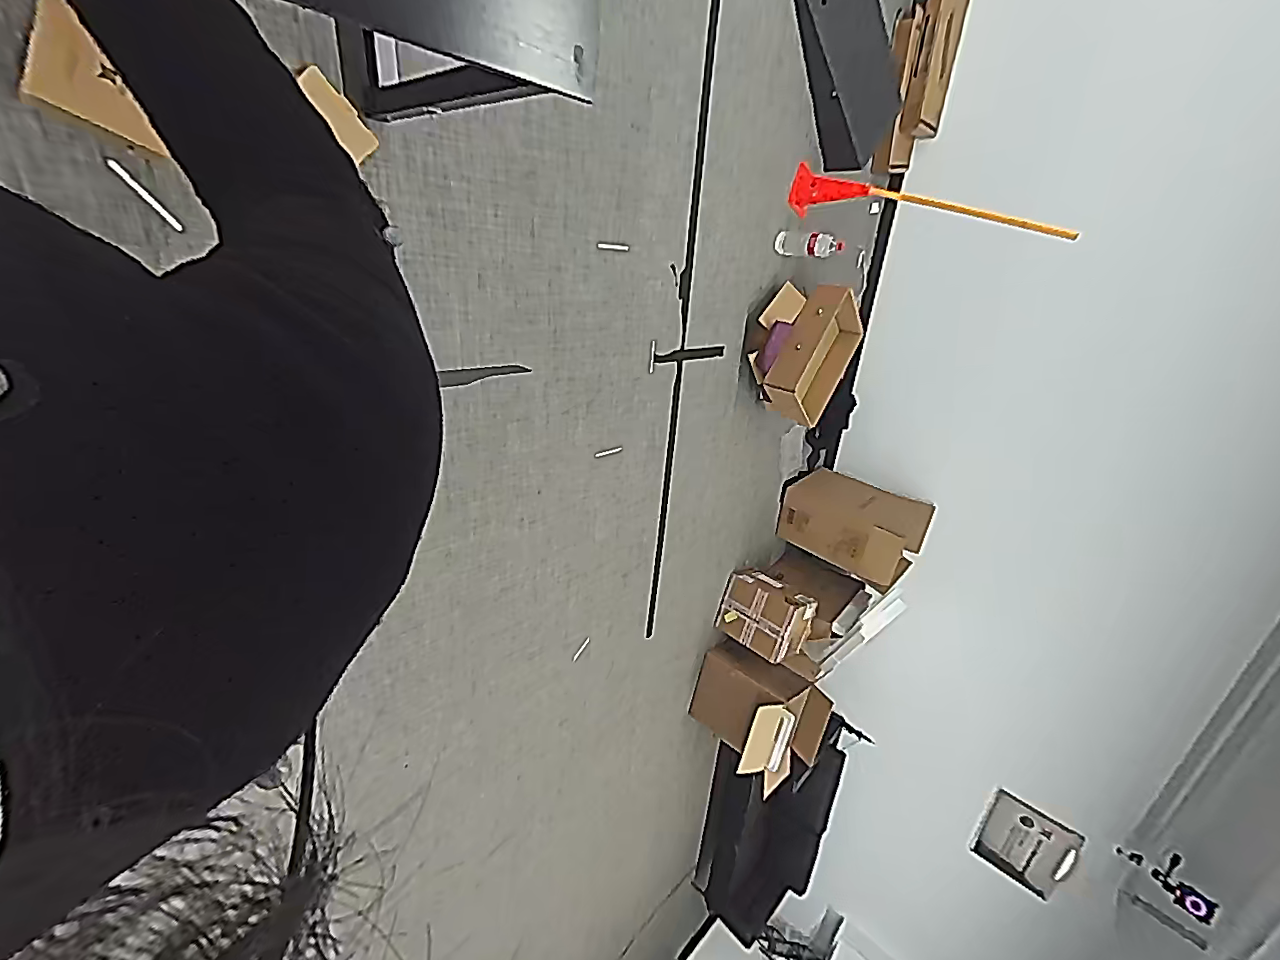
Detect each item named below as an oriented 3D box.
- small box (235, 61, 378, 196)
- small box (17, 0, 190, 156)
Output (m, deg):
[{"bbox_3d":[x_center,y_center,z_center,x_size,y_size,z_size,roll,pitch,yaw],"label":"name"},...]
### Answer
[{"bbox_3d":[-0.701,-0.727,1.131,0.179,0.176,0.168,-57,142,-11],"label":"small box"},{"bbox_3d":[-0.907,-0.678,0.914,0.179,0.176,0.168,10,101,-51],"label":"small box"}]
